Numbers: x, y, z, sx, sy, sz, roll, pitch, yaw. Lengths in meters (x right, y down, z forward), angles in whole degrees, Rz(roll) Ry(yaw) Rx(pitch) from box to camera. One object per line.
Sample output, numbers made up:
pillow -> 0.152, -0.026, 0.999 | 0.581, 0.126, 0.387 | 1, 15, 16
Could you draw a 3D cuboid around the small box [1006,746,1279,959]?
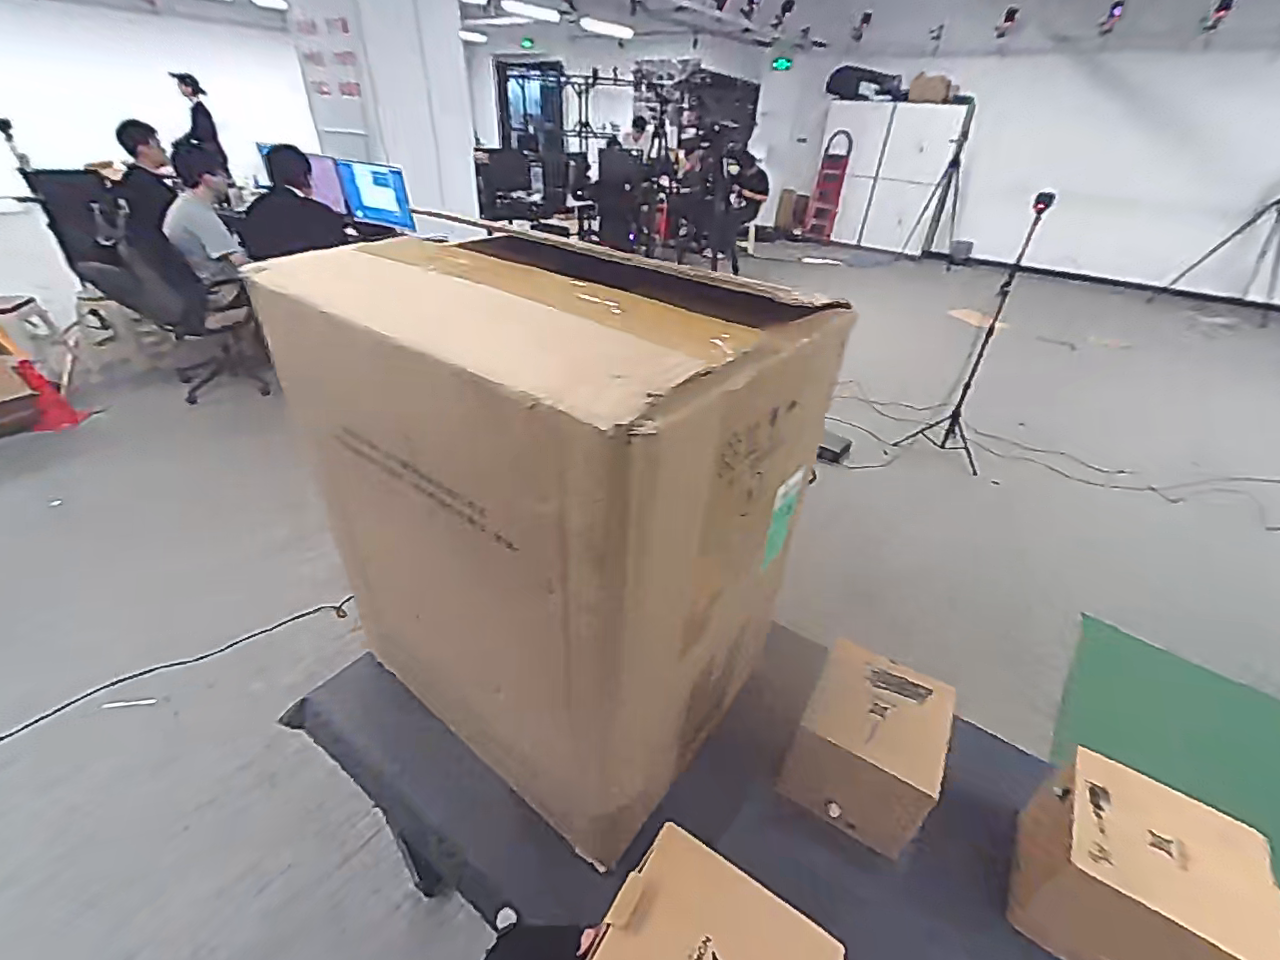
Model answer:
small box -> 0.567, 0.464, 0.628 | 0.179, 0.176, 0.168 | 24, 39, 28
